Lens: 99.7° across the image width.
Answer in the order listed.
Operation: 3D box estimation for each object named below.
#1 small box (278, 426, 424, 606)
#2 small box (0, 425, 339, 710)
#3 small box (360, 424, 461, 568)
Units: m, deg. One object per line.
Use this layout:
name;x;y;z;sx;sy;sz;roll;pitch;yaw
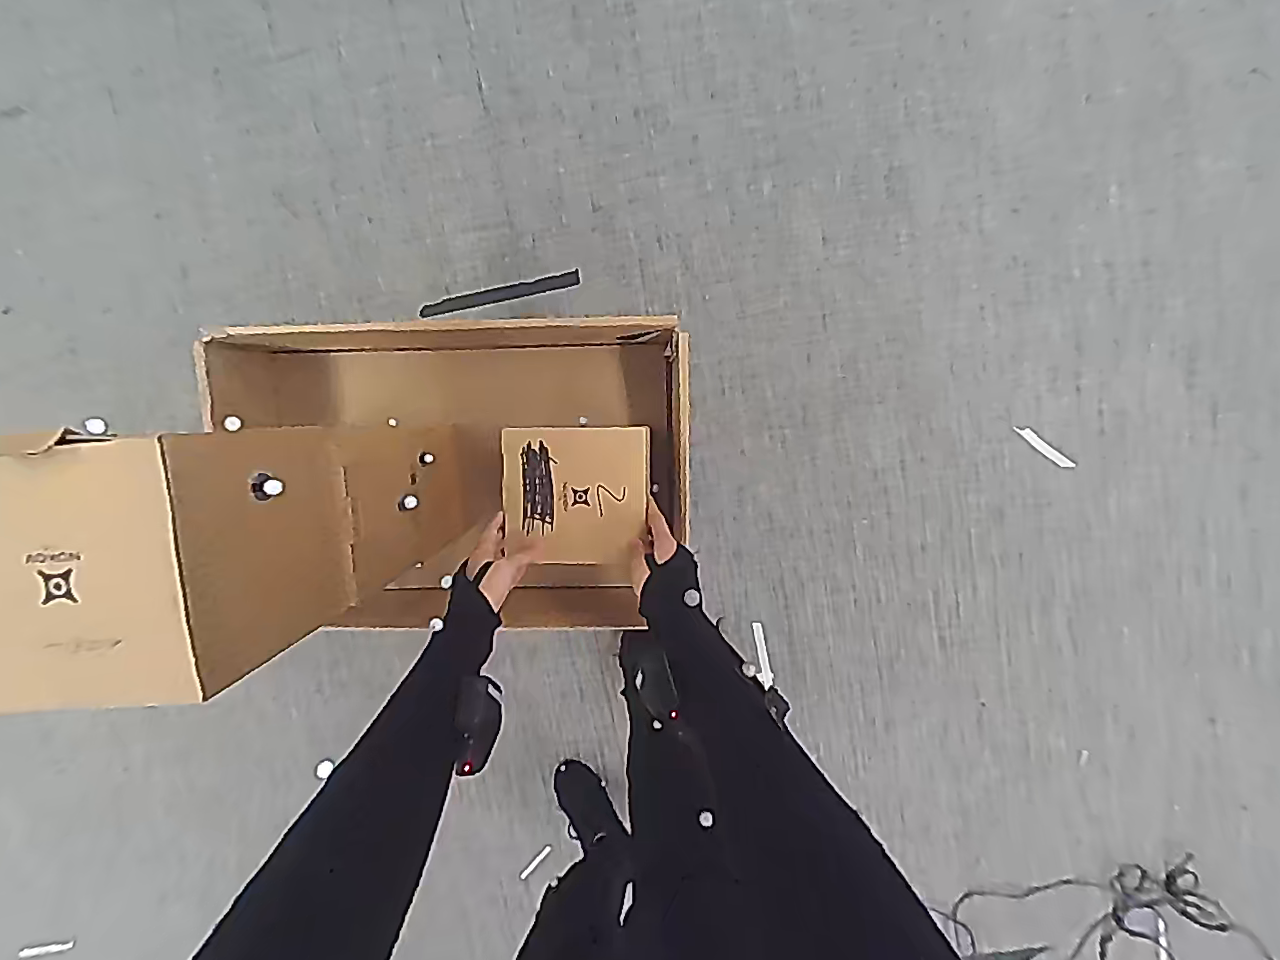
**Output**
small box;-0.354;0.028;0.576;0.179;0.176;0.168;-1;97;1
small box;-0.362;0.050;0.414;0.168;0.176;0.179;-3;96;2
small box;-0.356;0.015;0.740;0.168;0.176;0.179;-3;97;0
